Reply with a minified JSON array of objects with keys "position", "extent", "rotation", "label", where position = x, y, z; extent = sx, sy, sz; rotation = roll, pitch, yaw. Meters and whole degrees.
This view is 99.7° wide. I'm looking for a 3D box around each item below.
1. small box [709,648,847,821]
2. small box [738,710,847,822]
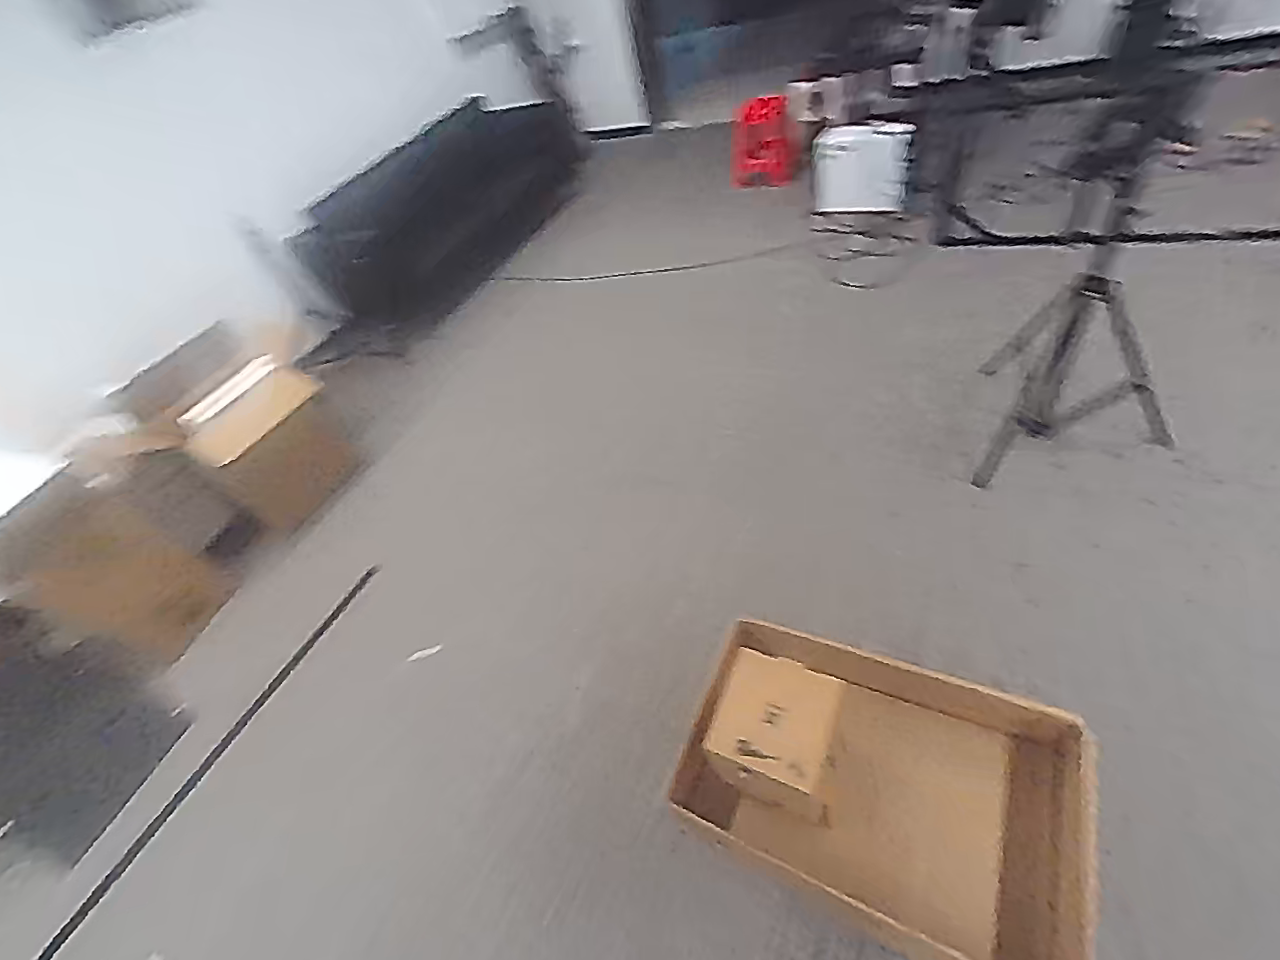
[{"position":[0.229,0.412,0.880],"extent":[0.168,0.176,0.179],"rotation":[12,52,30],"label":"small box"},{"position":[0.281,0.508,1.003],"extent":[0.179,0.176,0.168],"rotation":[7,50,26],"label":"small box"}]
